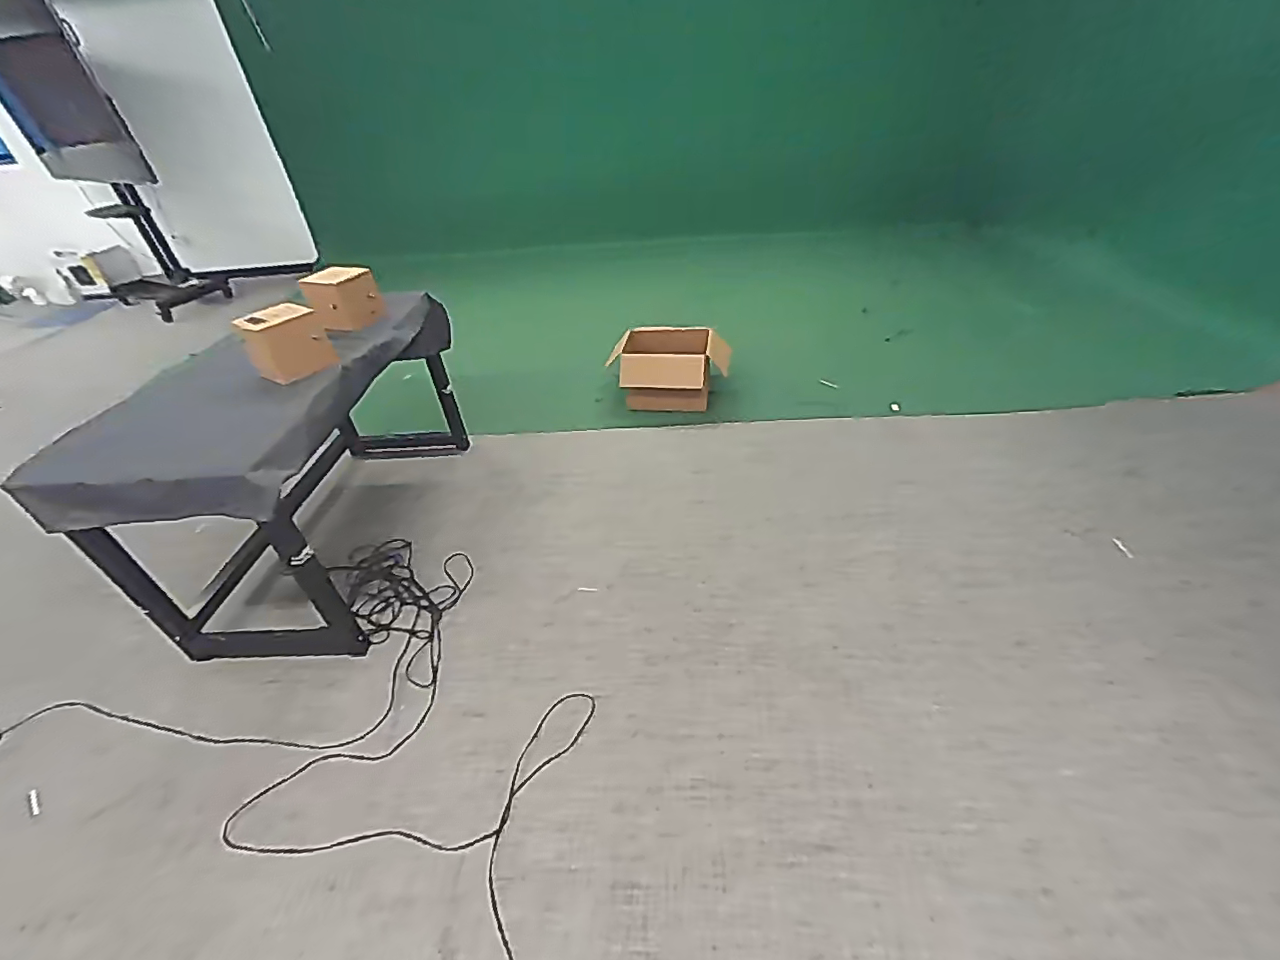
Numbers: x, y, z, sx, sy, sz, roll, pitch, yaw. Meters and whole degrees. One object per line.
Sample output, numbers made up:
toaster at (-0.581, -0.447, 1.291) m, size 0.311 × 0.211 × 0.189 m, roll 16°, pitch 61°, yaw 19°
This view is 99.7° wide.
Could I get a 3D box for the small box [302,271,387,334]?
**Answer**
small box at (-1.039, -0.629, 1.920) m, size 0.179 × 0.176 × 0.168 m, roll 8°, pitch 39°, yaw 20°
